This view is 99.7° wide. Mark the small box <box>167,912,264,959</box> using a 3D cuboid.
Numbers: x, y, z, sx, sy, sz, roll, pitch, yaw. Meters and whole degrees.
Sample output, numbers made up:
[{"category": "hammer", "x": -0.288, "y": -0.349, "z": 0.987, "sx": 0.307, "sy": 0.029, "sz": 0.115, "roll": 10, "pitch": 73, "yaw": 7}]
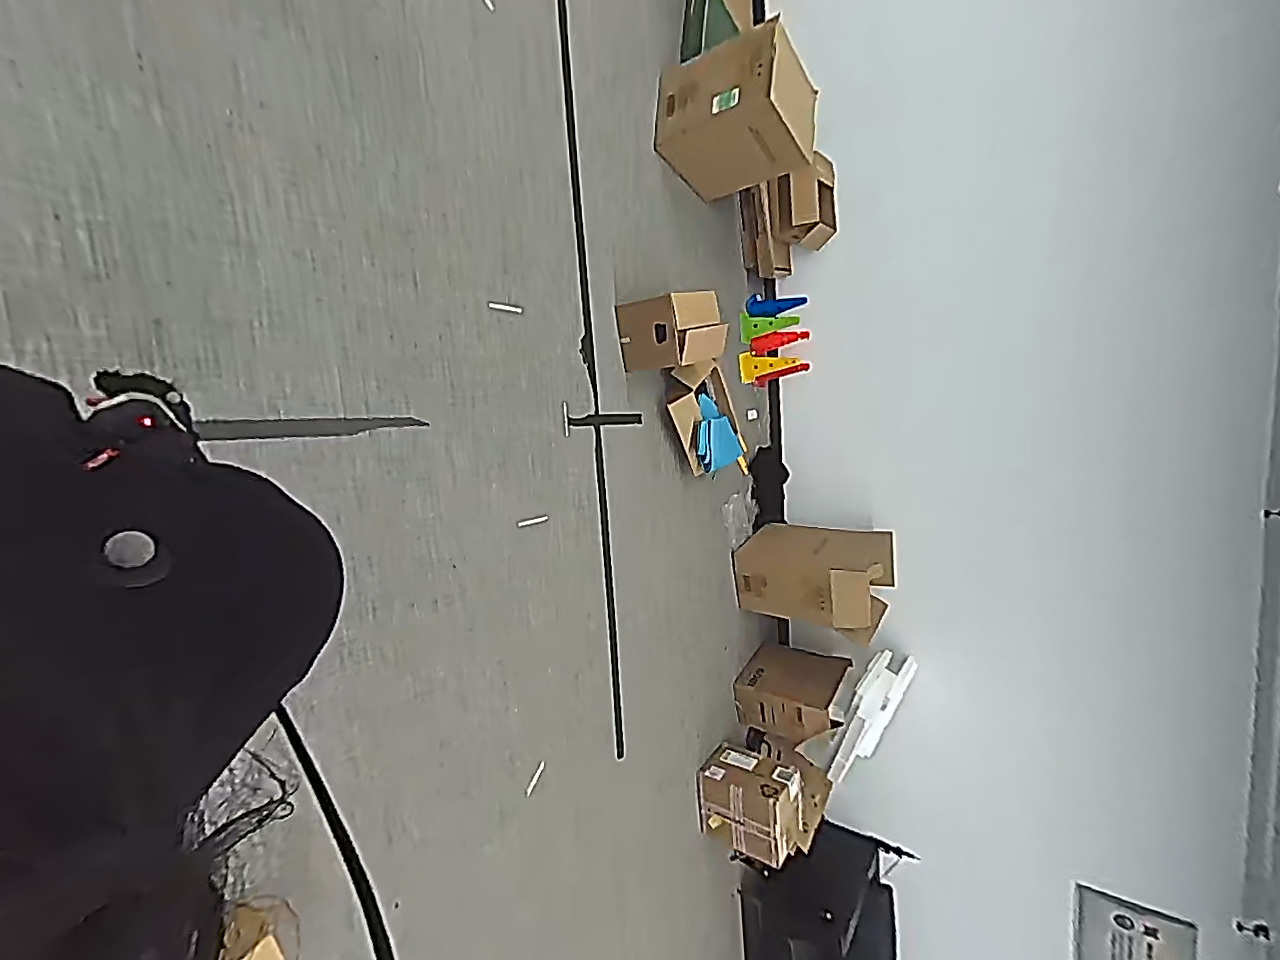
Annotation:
[{"category": "small box", "x": -0.969, "y": 1.148, "z": 1.222, "sx": 0.179, "sy": 0.176, "sz": 0.168, "roll": -31, "pitch": 116, "yaw": -51}]
